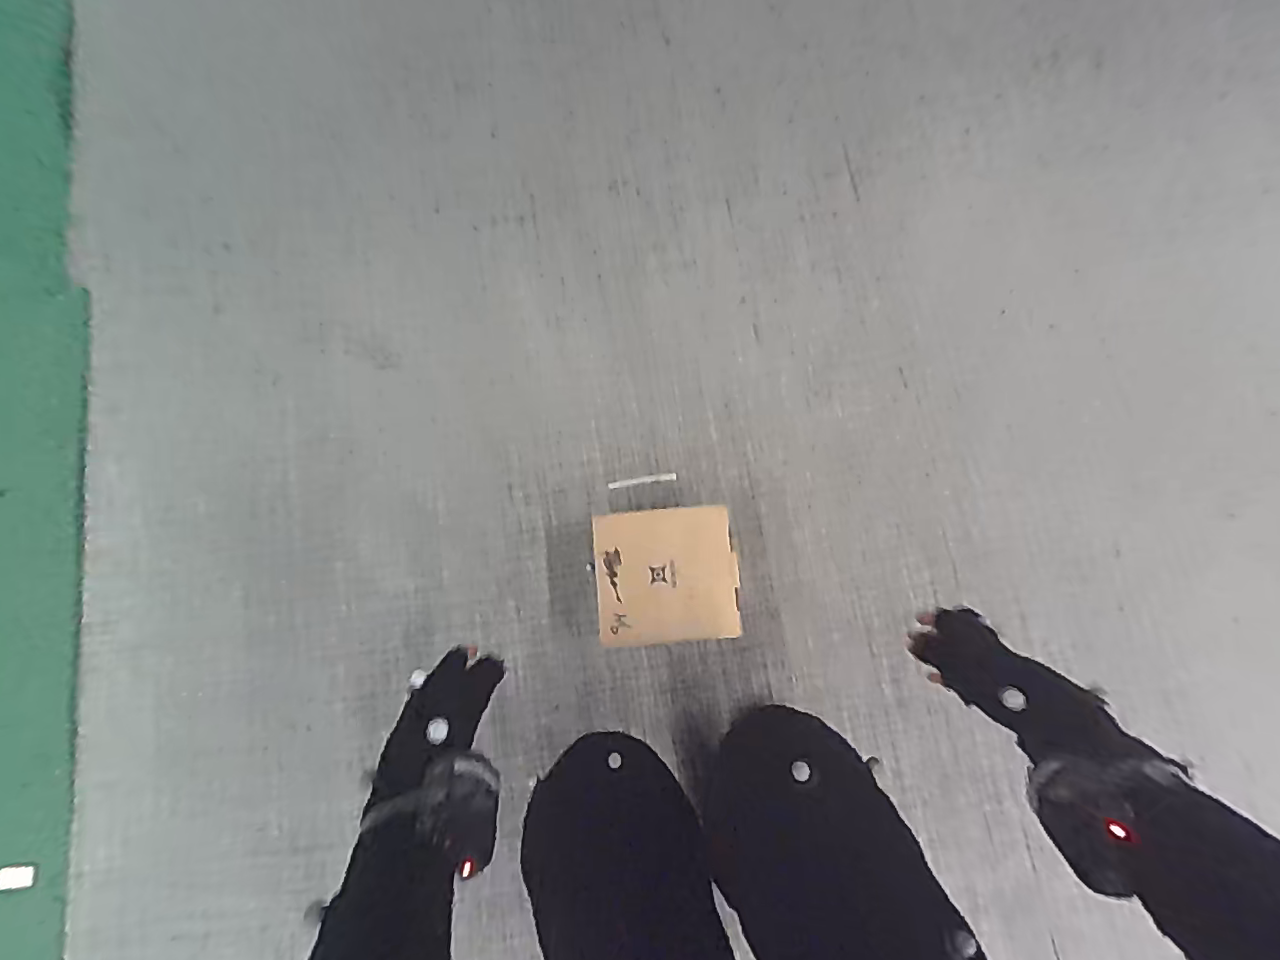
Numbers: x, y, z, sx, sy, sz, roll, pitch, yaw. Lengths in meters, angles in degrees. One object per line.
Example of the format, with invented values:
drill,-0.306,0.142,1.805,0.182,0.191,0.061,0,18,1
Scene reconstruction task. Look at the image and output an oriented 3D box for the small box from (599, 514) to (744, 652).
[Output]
small box,0.038,0.143,0.761,0.179,0.176,0.168,-4,78,0
